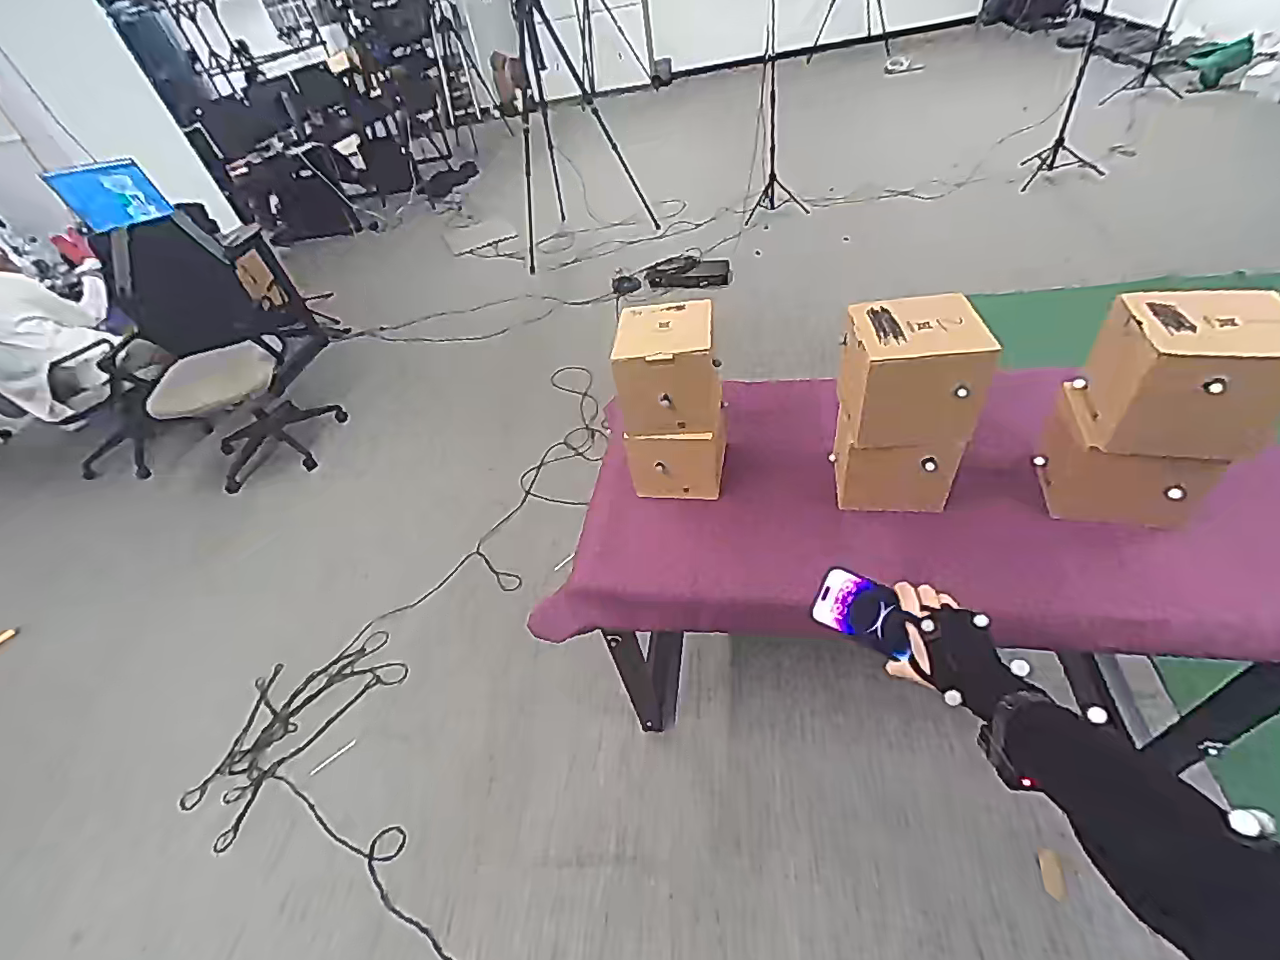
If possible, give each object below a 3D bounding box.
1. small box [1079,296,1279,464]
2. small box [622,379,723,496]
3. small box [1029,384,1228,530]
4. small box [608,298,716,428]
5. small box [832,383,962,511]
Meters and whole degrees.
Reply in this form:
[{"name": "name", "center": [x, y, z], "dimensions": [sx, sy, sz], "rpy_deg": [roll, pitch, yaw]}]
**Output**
[{"name": "small box", "center": [0.755, -0.140, 0.755], "dimensions": [0.179, 0.176, 0.168], "rpy_deg": [7, 47, 18]}, {"name": "small box", "center": [0.075, -0.084, 1.087], "dimensions": [0.168, 0.176, 0.179], "rpy_deg": [2, 46, 15]}, {"name": "small box", "center": [0.775, -0.036, 0.882], "dimensions": [0.179, 0.176, 0.168], "rpy_deg": [6, 47, 19]}, {"name": "small box", "center": [0.050, -0.205, 0.978], "dimensions": [0.168, 0.176, 0.179], "rpy_deg": [-1, 46, 11]}, {"name": "small box", "center": [0.448, -0.058, 0.975], "dimensions": [0.179, 0.176, 0.168], "rpy_deg": [2, 46, 14]}]
